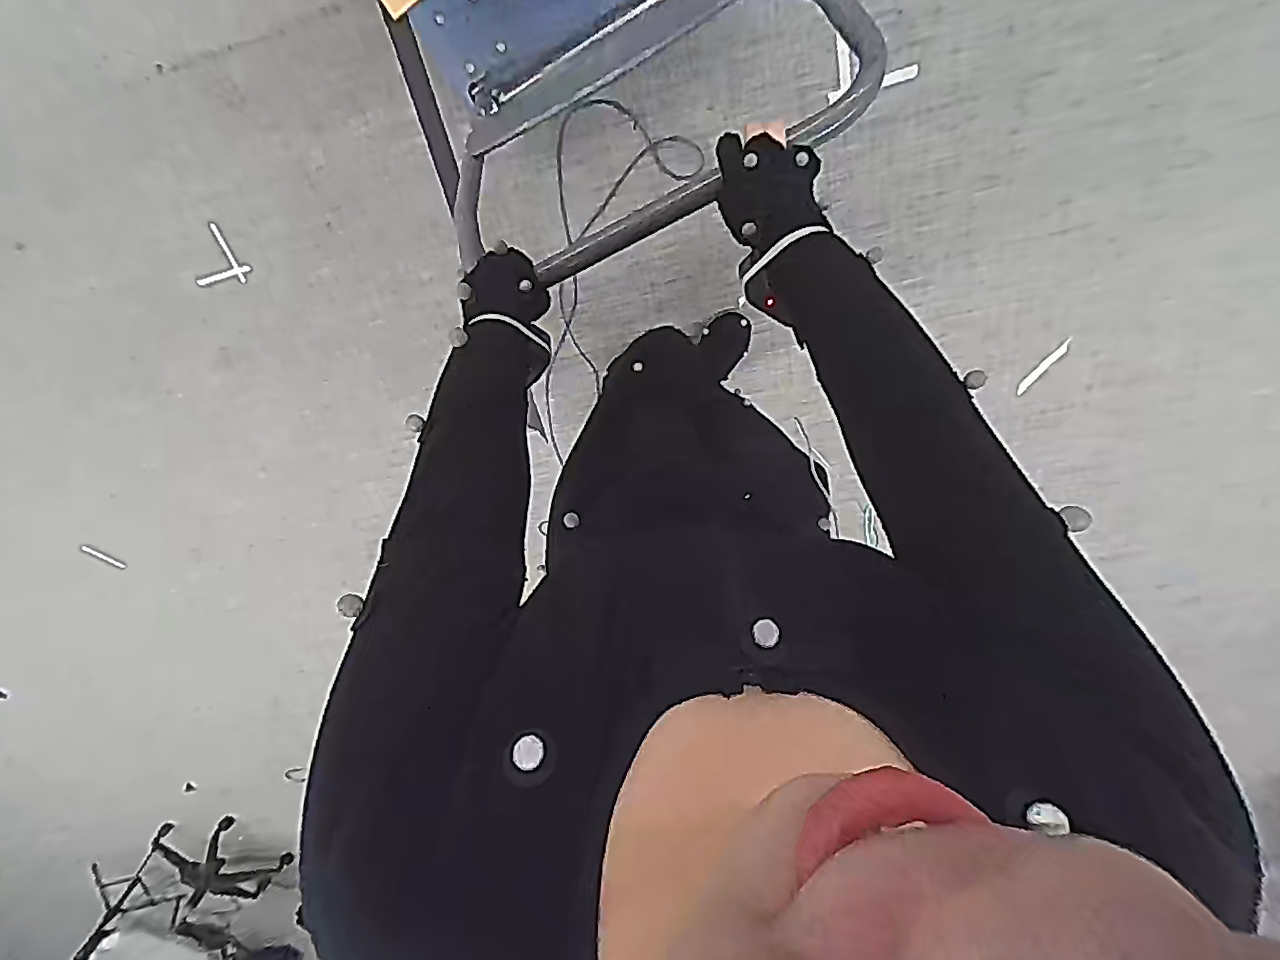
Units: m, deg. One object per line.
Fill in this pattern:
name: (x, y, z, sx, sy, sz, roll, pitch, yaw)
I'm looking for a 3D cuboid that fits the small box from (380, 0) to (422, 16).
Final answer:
small box: (-0.344, -0.835, 0.794, 0.179, 0.176, 0.168, -25, 135, 16)
